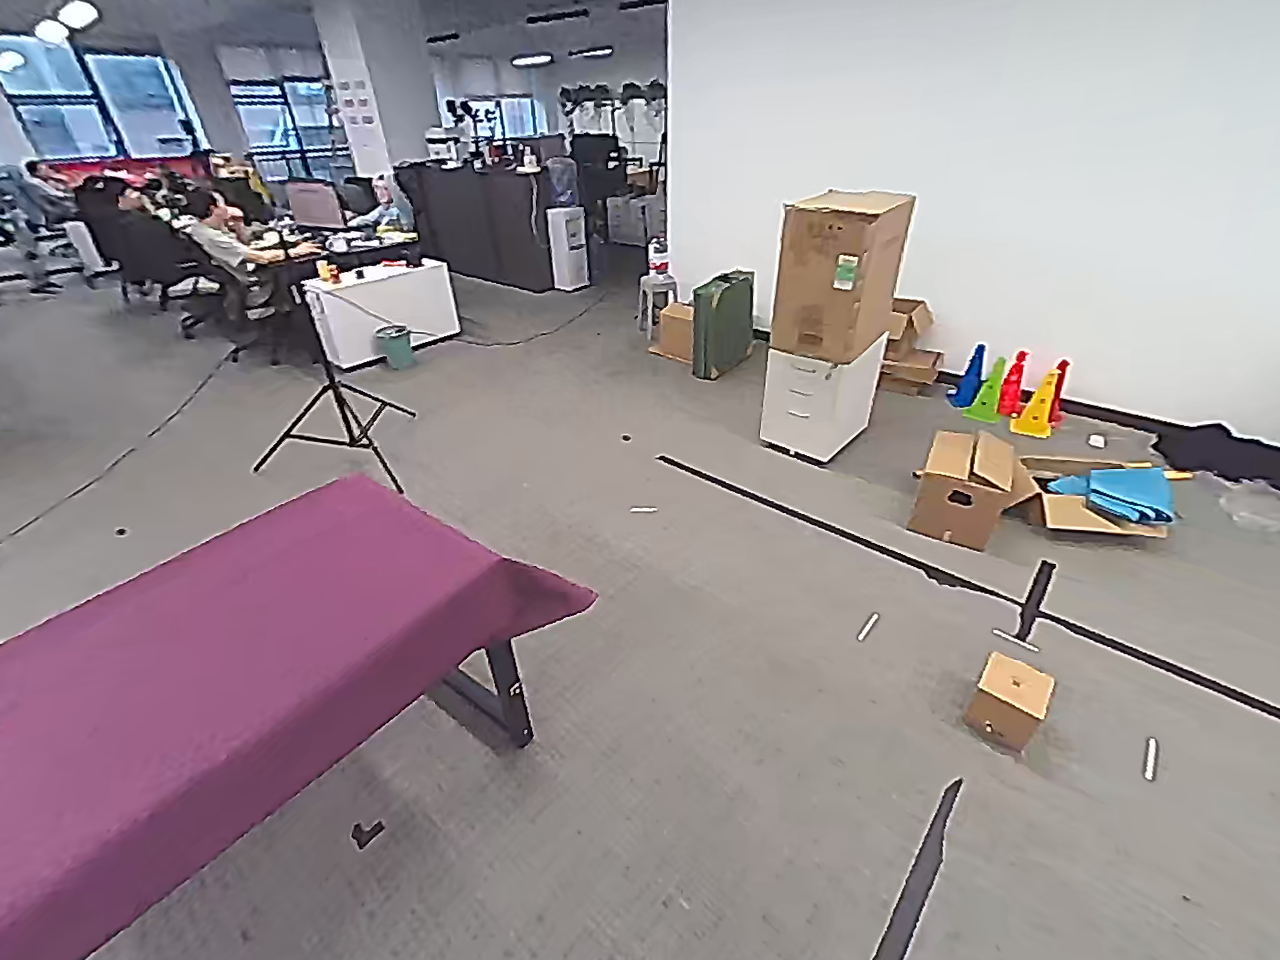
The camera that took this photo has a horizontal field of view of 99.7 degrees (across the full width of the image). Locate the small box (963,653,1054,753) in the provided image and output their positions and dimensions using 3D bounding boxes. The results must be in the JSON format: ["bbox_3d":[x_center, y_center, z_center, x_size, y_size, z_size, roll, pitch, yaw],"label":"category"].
[{"bbox_3d":[1.092,0.662,1.611,0.168,0.176,0.179,24,42,34],"label":"small box"}]
